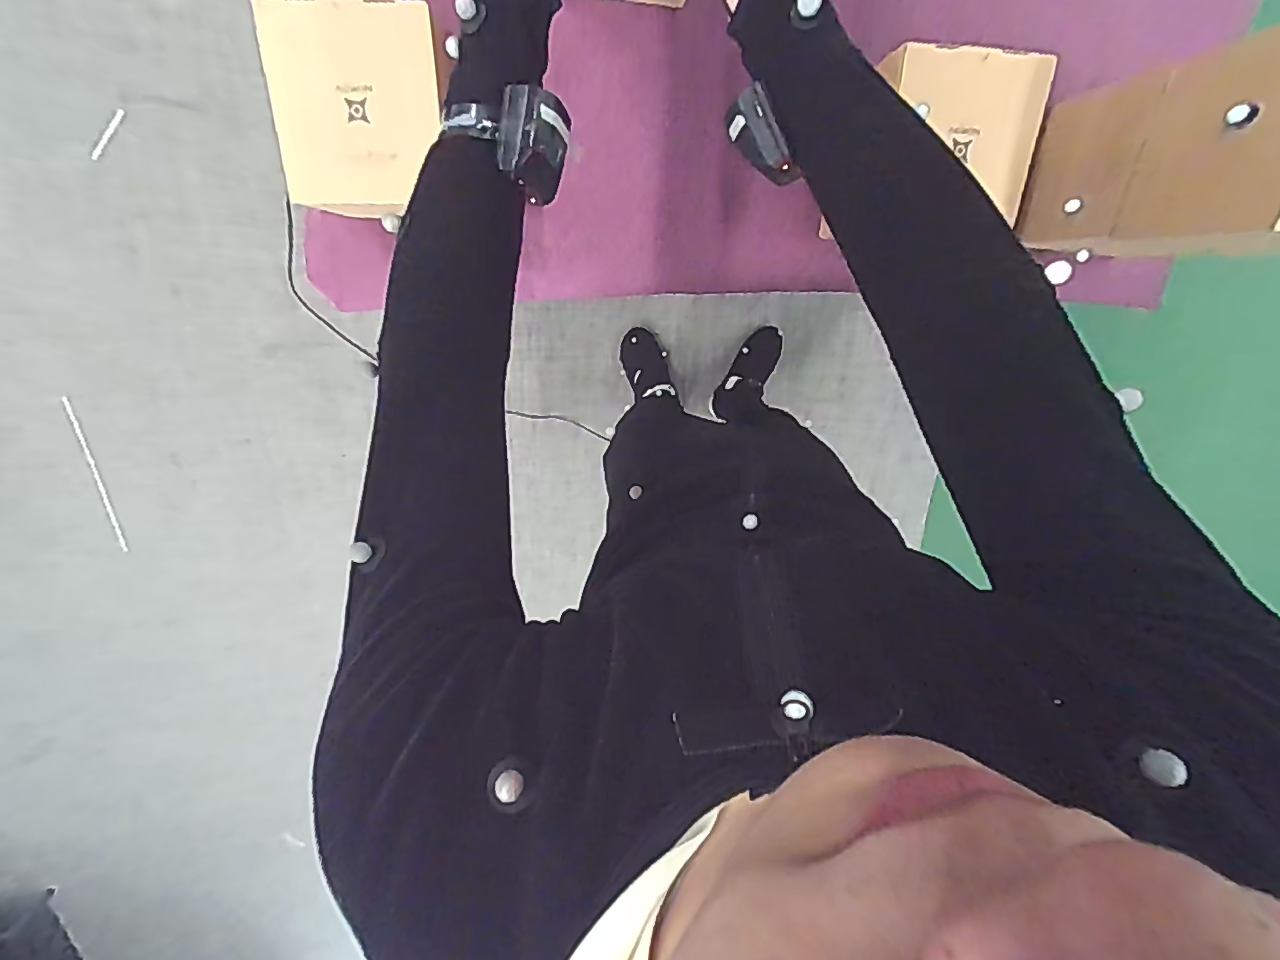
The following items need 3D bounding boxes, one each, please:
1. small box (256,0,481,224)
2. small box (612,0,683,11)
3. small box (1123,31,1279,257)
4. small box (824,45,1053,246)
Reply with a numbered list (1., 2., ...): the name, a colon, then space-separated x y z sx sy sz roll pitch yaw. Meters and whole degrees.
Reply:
1. small box: -0.285 -0.397 0.613 0.168 0.176 0.179 -1 111 -3
2. small box: -0.016 -0.625 0.542 0.168 0.176 0.179 4 112 -5
3. small box: 0.632 -0.320 0.521 0.168 0.176 0.179 4 110 -3
4. small box: 0.340 -0.386 0.658 0.168 0.176 0.179 1 109 -3
